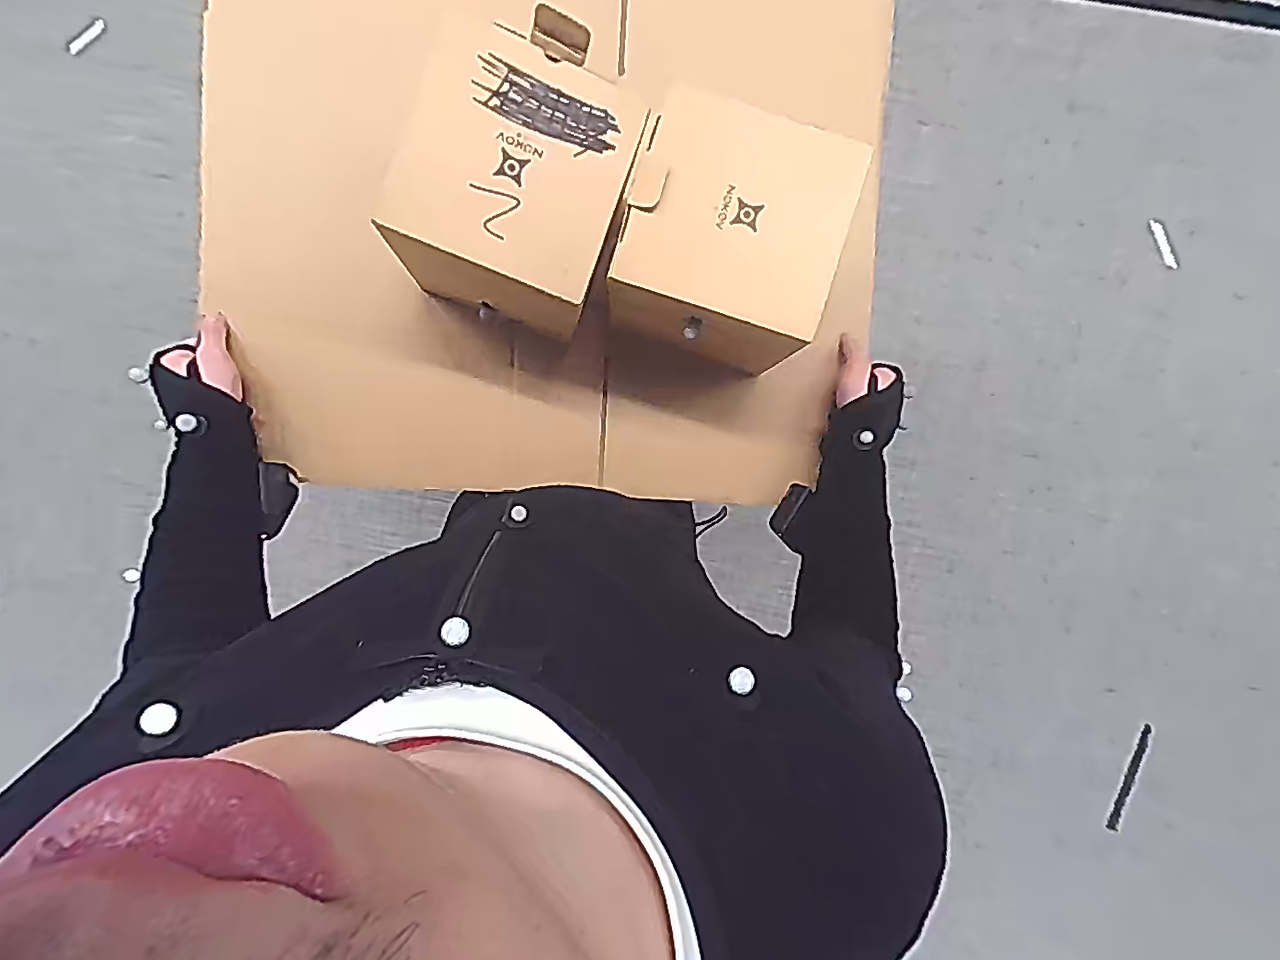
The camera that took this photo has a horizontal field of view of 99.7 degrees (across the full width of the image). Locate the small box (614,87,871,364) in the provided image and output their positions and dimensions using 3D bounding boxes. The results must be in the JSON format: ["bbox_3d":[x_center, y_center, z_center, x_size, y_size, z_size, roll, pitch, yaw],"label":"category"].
[{"bbox_3d":[0.083,-0.221,0.523,0.179,0.176,0.168,17,92,-1],"label":"small box"}]
